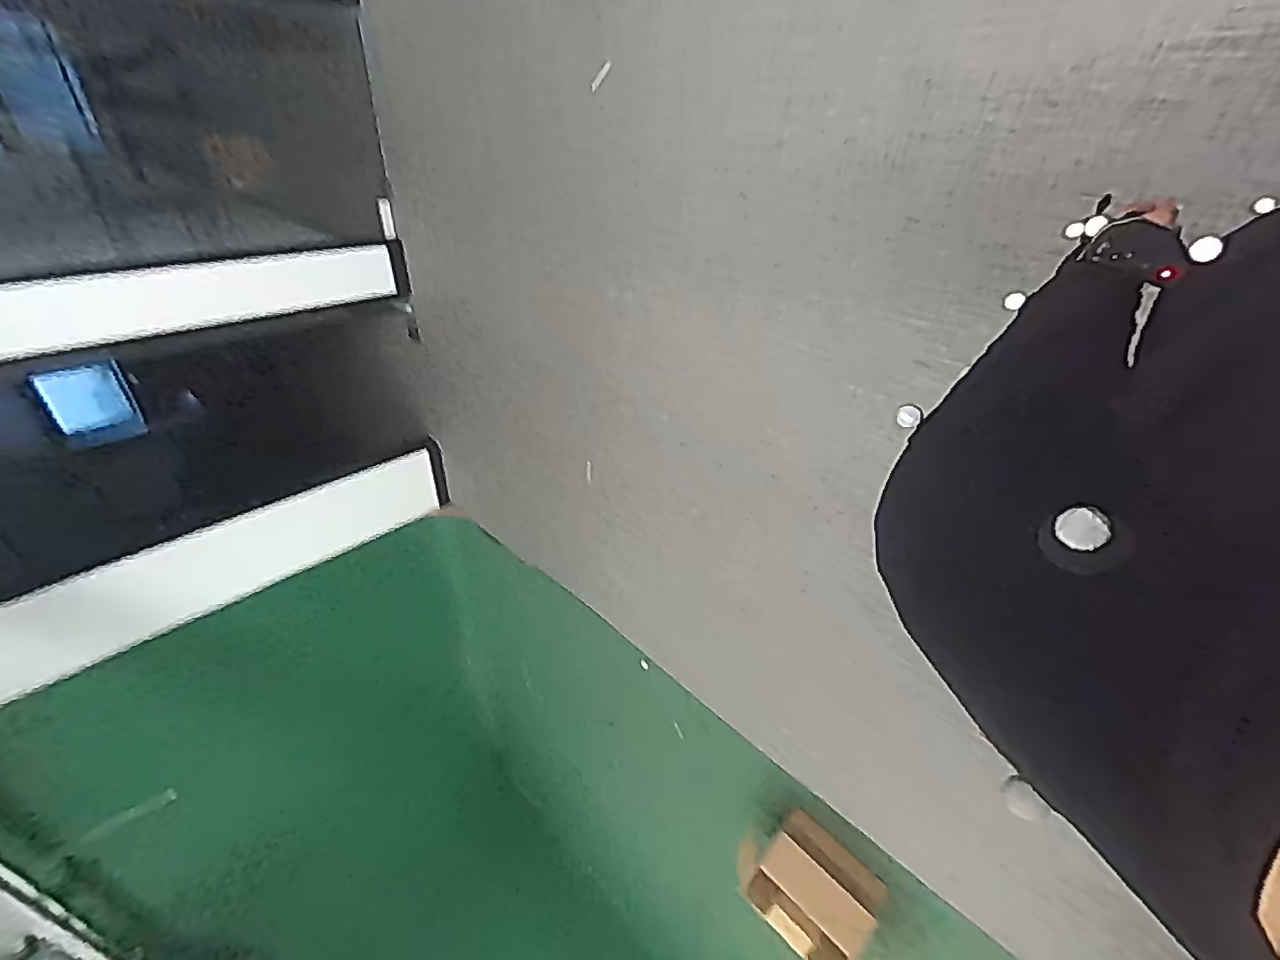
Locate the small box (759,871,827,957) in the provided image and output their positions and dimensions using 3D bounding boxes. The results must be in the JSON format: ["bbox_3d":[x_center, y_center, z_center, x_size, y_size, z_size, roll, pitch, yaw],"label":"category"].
[{"bbox_3d":[0.583,1.640,2.049,0.168,0.176,0.179,34,134,31],"label":"small box"}]
